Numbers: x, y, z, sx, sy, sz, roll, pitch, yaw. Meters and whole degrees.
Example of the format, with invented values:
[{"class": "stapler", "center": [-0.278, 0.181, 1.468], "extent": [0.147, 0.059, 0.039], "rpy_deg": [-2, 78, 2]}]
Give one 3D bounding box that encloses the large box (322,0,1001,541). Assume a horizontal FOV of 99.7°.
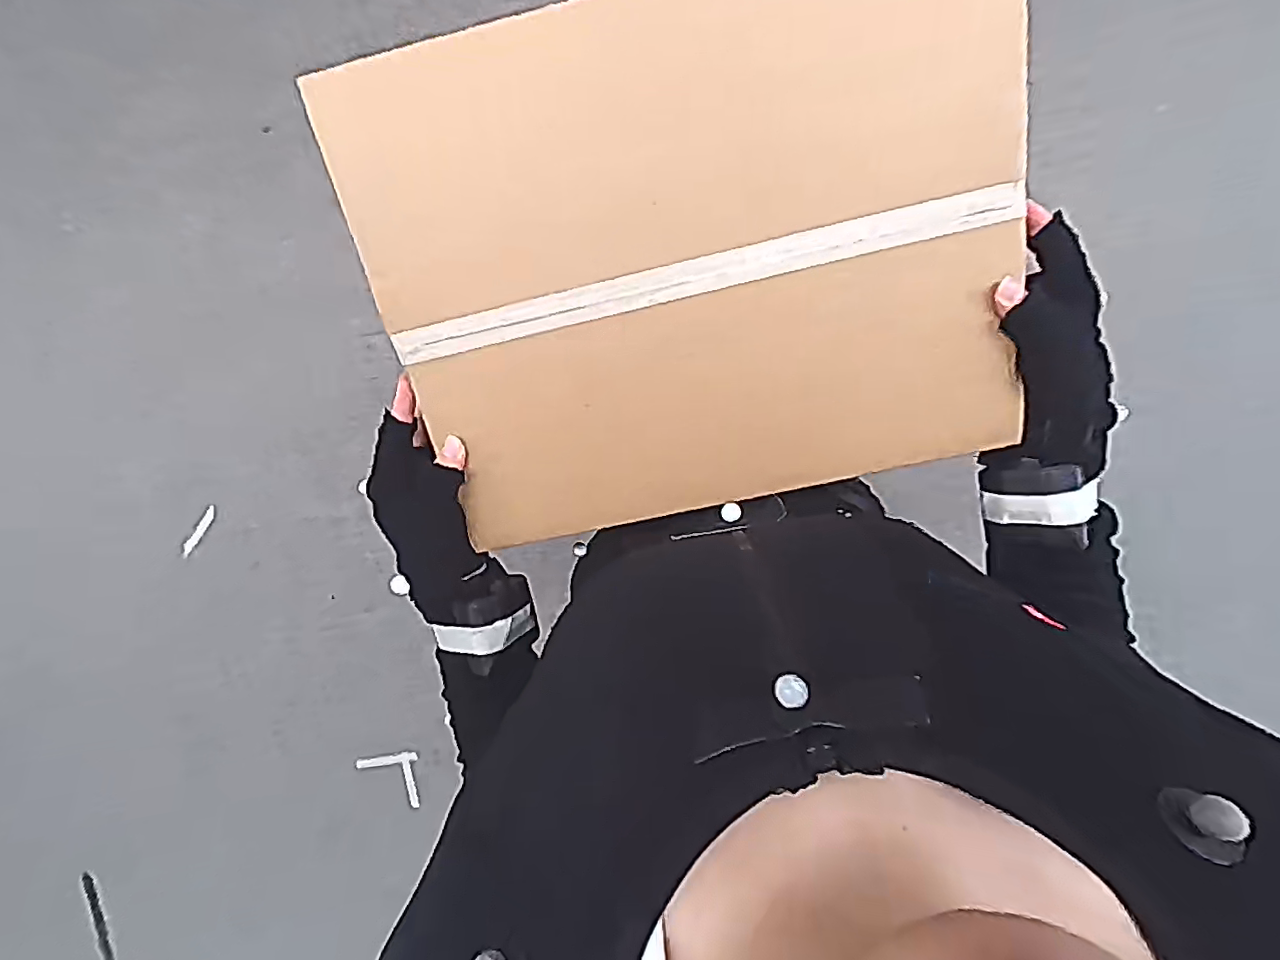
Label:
[{"class": "large box", "center": [0.032, -0.183, 0.497], "extent": [0.408, 0.320, 0.320], "rpy_deg": [-12, 110, 5]}]
